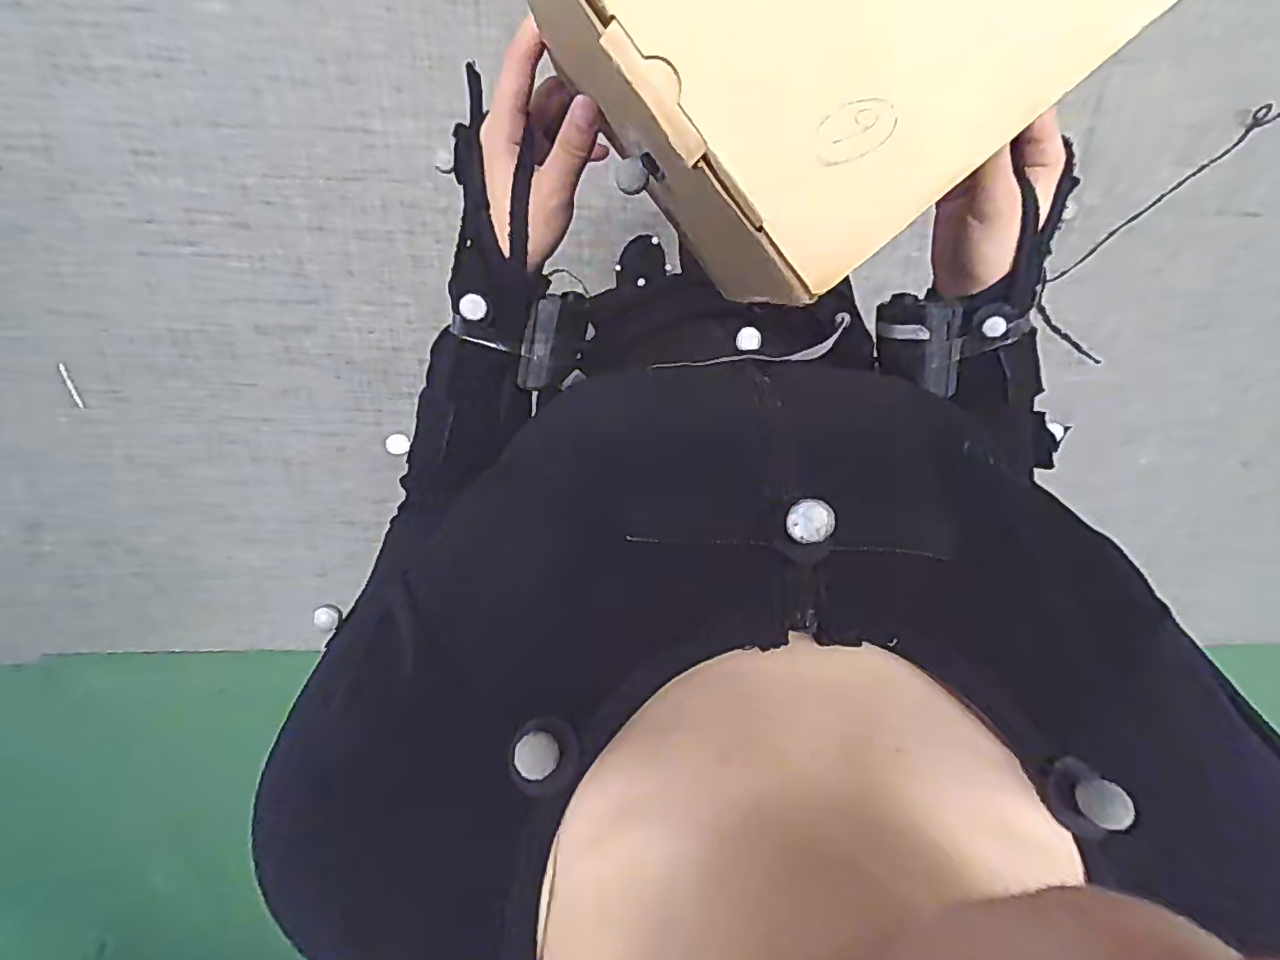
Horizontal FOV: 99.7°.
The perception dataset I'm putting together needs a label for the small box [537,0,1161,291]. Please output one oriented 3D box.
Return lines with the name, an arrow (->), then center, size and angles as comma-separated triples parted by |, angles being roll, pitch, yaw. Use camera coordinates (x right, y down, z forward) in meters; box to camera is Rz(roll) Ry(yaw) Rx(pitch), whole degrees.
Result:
small box -> 0.068, -0.198, 0.224 | 0.179, 0.176, 0.168 | -39, 104, 13
